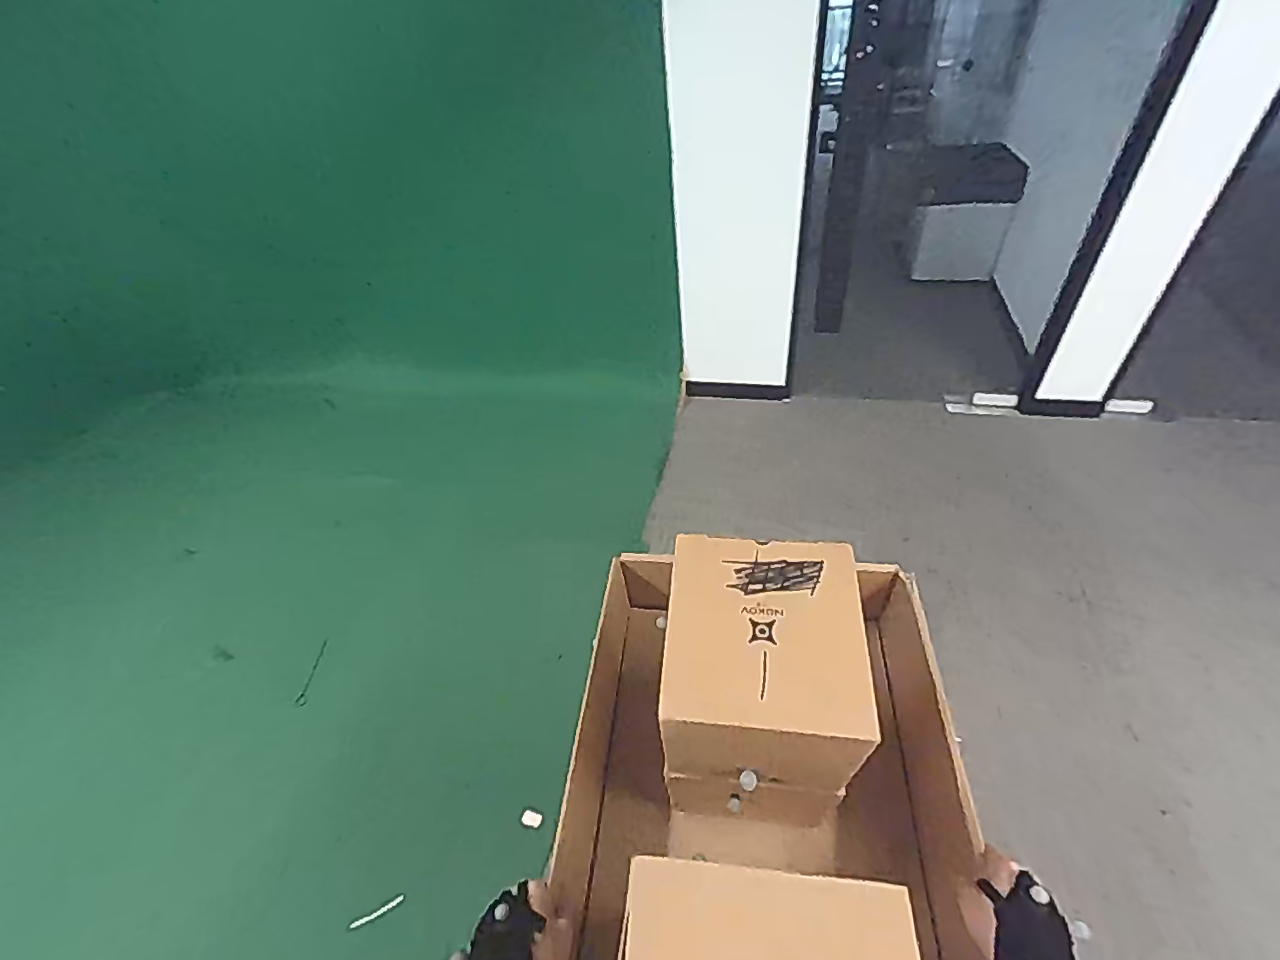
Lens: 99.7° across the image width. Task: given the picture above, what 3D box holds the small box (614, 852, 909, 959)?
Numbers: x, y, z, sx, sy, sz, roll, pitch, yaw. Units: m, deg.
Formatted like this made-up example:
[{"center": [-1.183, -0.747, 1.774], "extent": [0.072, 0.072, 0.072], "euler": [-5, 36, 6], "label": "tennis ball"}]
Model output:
[{"center": [0.074, 0.367, 0.358], "extent": [0.179, 0.176, 0.168], "euler": [2, 48, 7], "label": "small box"}]

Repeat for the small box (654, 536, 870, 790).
[{"center": [0.108, 0.176, 0.524], "extent": [0.168, 0.176, 0.179], "euler": [3, 50, 8], "label": "small box"}]

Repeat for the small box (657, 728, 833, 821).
[{"center": [0.120, 0.290, 0.643], "extent": [0.179, 0.176, 0.168], "euler": [1, 49, 9], "label": "small box"}]
